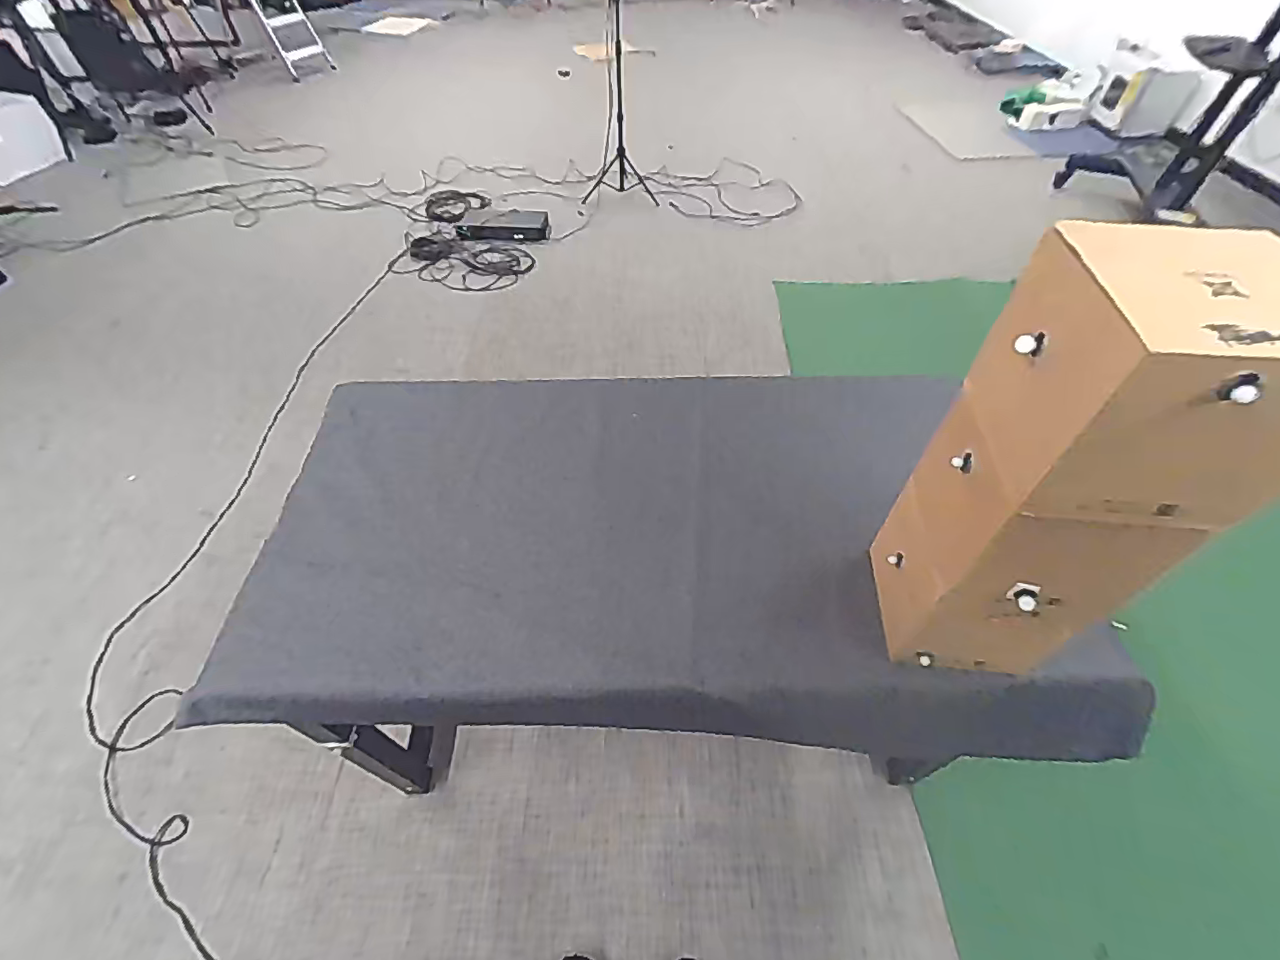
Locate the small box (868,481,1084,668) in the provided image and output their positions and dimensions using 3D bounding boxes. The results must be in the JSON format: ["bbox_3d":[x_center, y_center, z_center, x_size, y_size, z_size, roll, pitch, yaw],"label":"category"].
[{"bbox_3d":[0.412,0.125,0.701,0.168,0.176,0.179,5,49,5],"label":"small box"}]

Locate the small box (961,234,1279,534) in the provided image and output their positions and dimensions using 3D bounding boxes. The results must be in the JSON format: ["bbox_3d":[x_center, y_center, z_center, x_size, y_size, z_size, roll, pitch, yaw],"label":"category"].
[{"bbox_3d":[0.400,-0.080,0.449,0.168,0.176,0.179,5,49,6],"label":"small box"}]

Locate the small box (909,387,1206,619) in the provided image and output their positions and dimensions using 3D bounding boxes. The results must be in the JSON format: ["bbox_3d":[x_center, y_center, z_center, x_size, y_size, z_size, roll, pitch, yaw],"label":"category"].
[{"bbox_3d":[0.408,0.024,0.576,0.168,0.176,0.179,5,51,6],"label":"small box"}]
